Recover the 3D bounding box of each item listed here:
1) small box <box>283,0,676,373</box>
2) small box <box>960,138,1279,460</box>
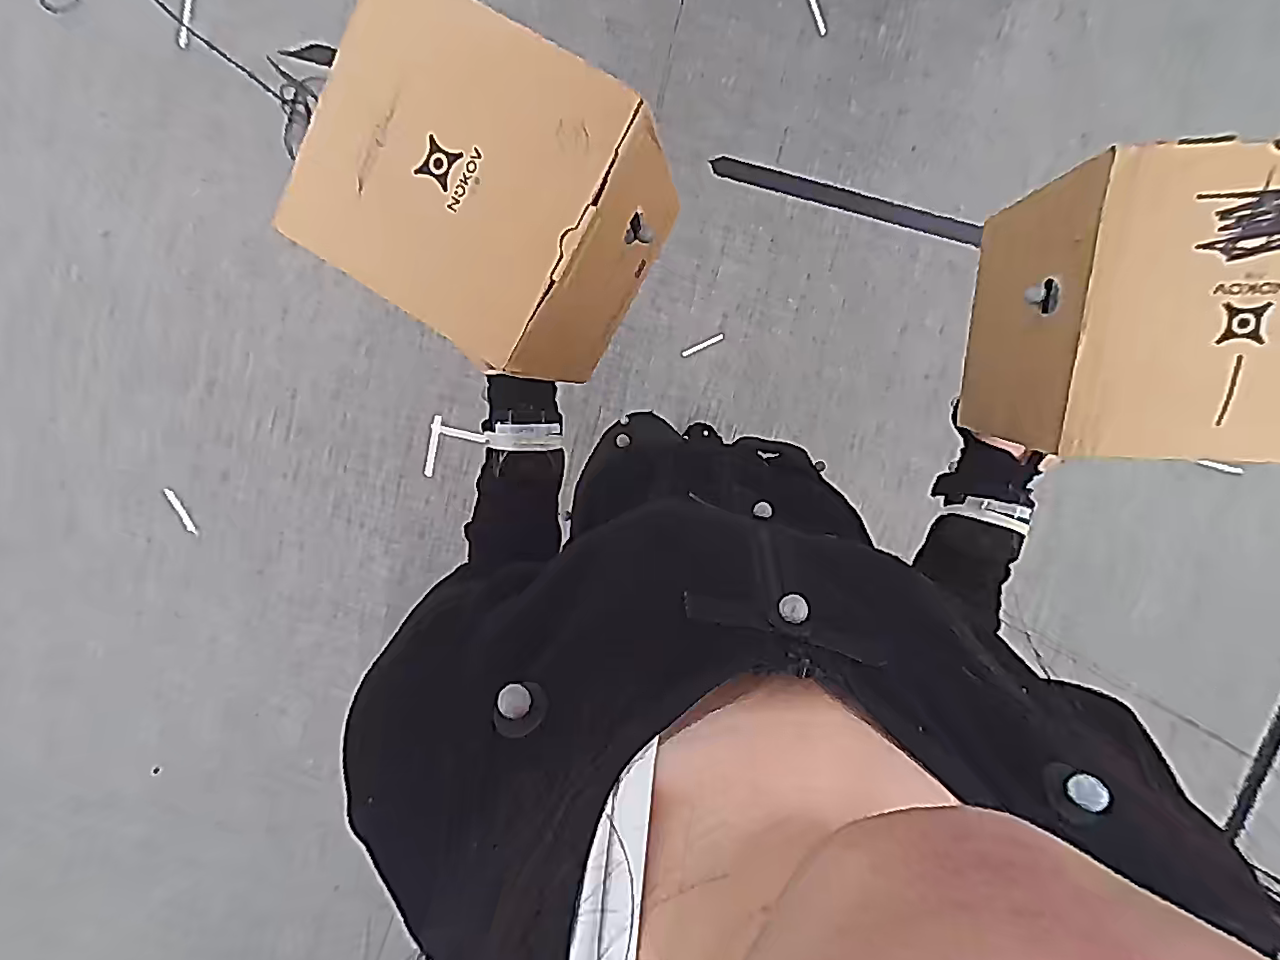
[{"bbox_3d":[-0.091,-0.188,0.384,0.179,0.176,0.168,33,101,5],"label":"small box"},{"bbox_3d":[0.354,-0.115,0.383,0.168,0.176,0.179,3,103,10],"label":"small box"}]
